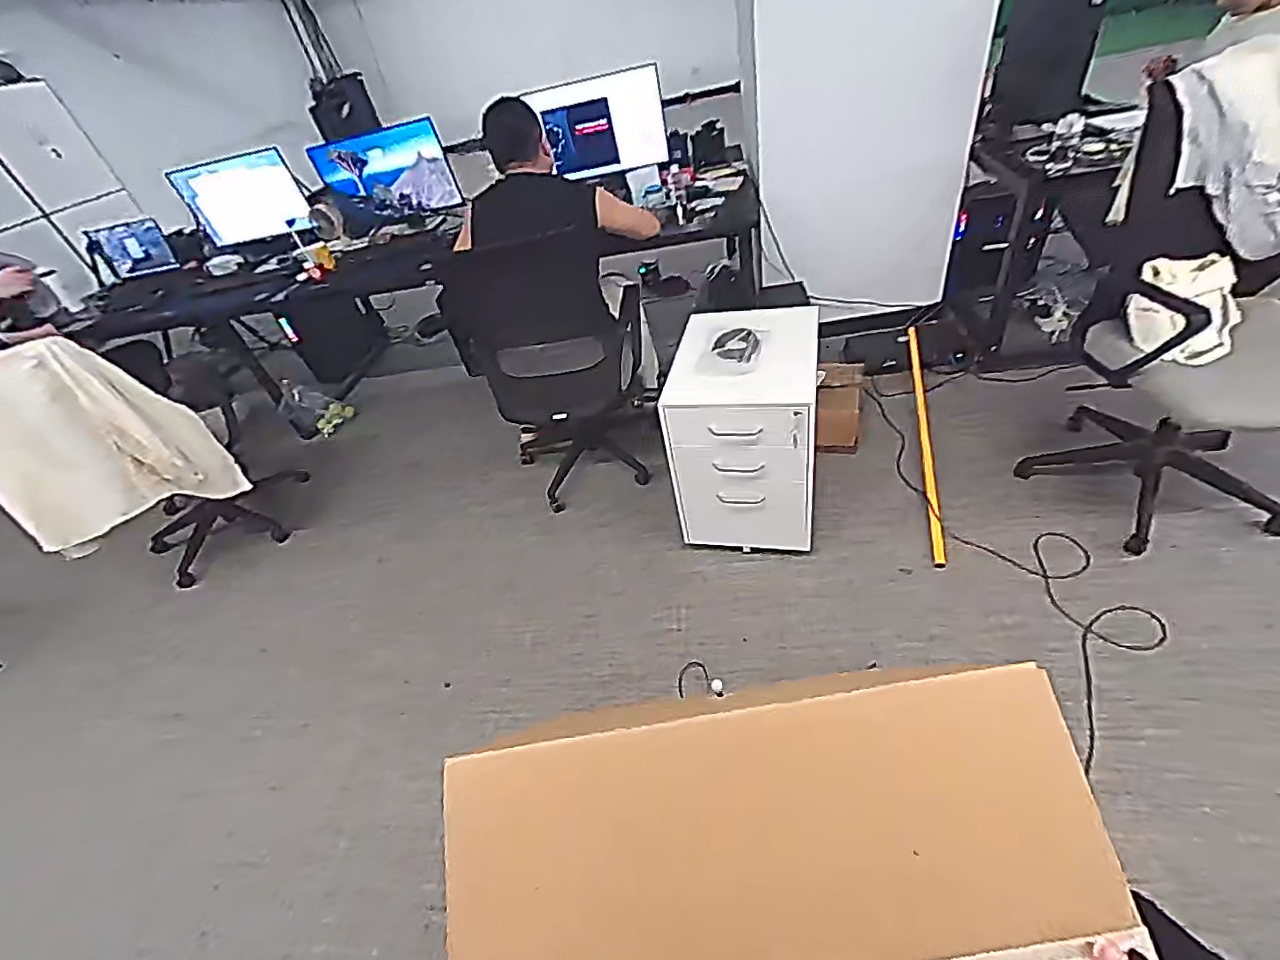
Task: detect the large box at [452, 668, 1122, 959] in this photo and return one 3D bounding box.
[{"bbox_3d":[0.101,0.357,0.464,0.408,0.320,0.320,-10,70,1],"label":"large box"}]
